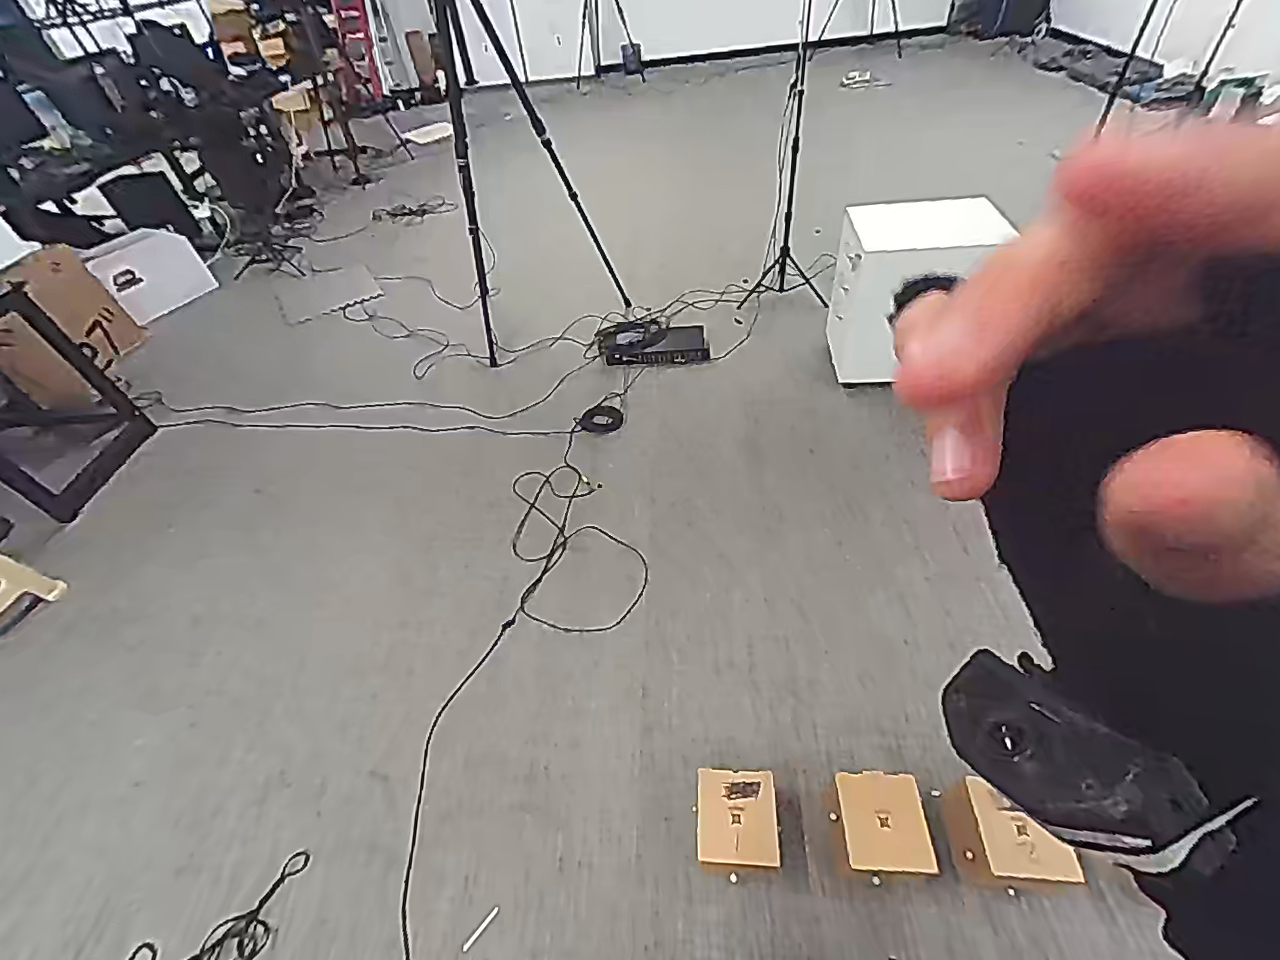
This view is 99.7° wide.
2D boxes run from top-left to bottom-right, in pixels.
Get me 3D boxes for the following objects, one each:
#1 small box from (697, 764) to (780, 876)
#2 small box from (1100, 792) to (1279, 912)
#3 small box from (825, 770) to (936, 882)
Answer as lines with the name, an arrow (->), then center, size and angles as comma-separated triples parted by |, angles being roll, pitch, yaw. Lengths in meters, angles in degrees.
small box -> 0.210, 0.748, 1.189 | 0.168, 0.176, 0.179 | 0, 48, 8
small box -> 1.088, 0.745, 1.081 | 0.168, 0.176, 0.179 | -1, 47, 6
small box -> 0.503, 0.742, 1.158 | 0.168, 0.176, 0.179 | -2, 46, 6
